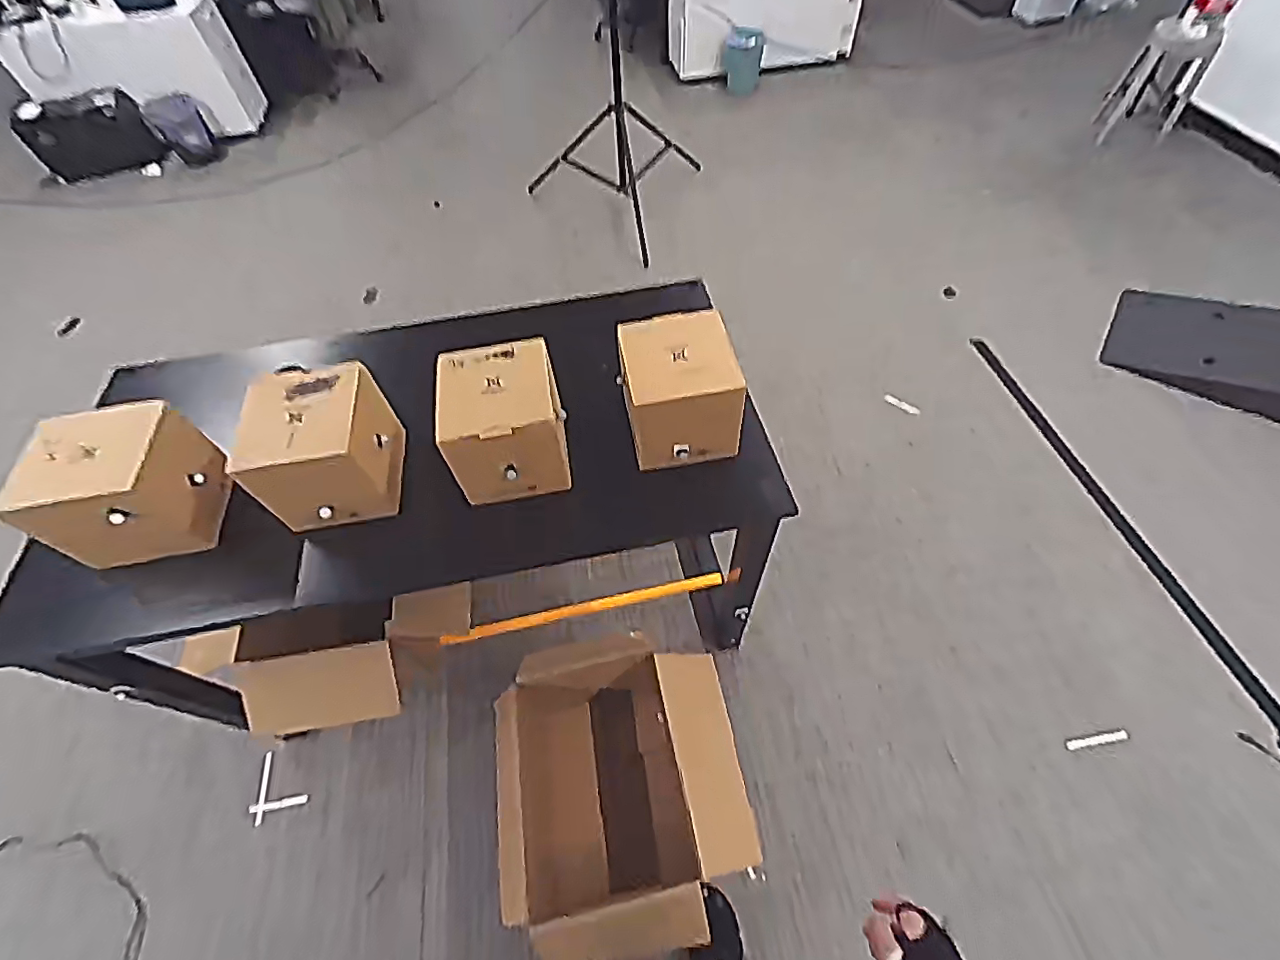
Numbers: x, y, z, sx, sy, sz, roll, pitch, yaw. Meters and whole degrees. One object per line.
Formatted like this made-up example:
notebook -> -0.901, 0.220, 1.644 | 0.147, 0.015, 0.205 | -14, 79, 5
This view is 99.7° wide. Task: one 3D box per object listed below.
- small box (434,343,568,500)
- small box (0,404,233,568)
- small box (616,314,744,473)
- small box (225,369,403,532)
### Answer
small box -> -0.213, -0.084, 0.854 | 0.168, 0.176, 0.179 | -10, 56, -4
small box -> -0.763, 0.013, 0.811 | 0.179, 0.176, 0.168 | -11, 55, -5
small box -> 0.059, -0.137, 0.877 | 0.168, 0.176, 0.179 | -11, 56, -3
small box -> -0.485, -0.044, 0.839 | 0.168, 0.176, 0.179 | -10, 56, -4
